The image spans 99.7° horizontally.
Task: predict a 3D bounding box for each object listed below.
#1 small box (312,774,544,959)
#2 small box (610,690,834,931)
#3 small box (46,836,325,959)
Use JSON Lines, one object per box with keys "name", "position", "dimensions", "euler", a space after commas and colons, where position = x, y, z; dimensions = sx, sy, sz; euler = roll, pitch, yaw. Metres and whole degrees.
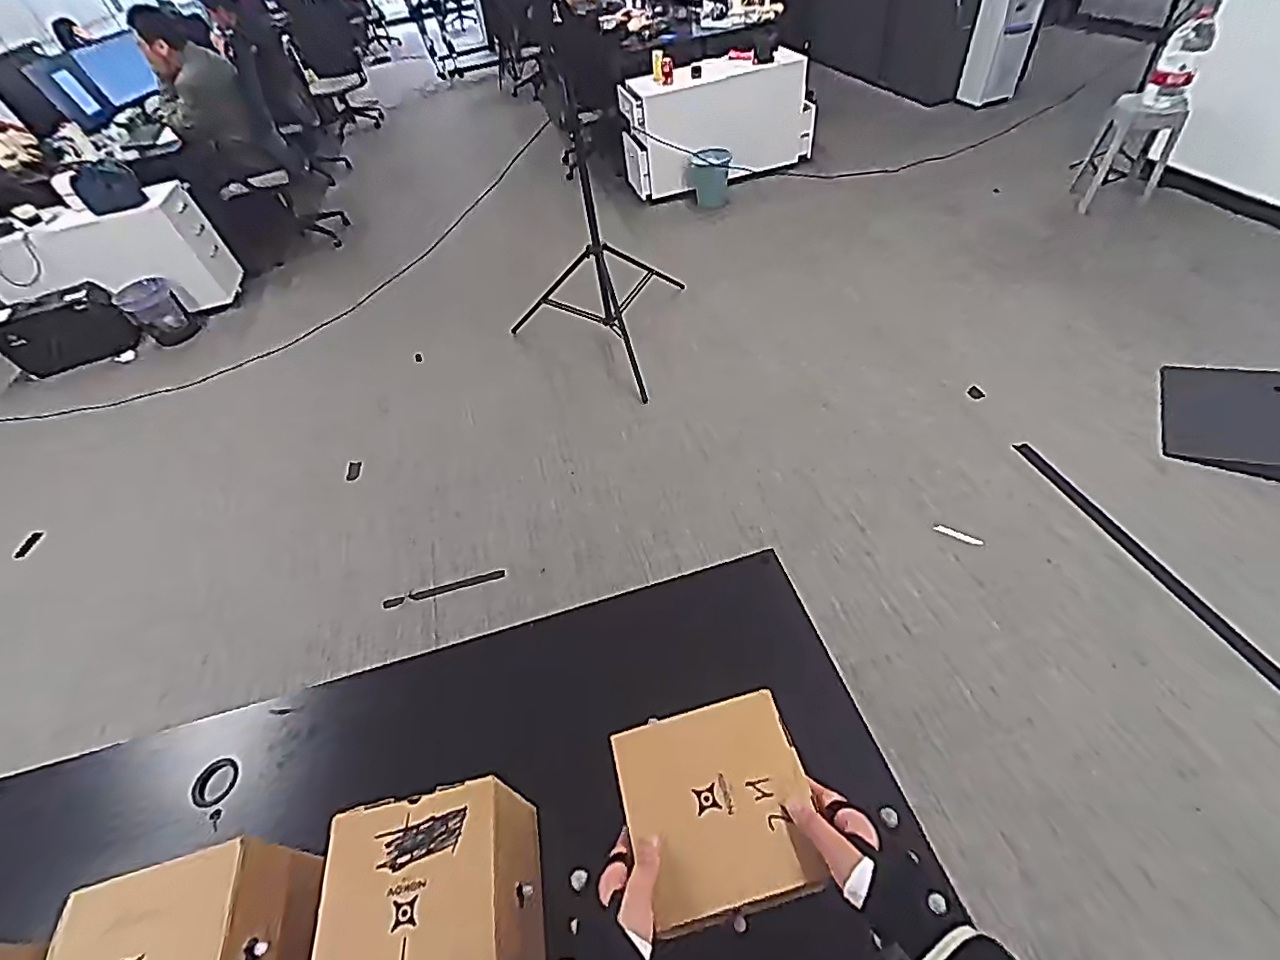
{"name": "small box", "position": [-0.201, 0.431, 0.550], "dimensions": [0.168, 0.176, 0.179], "euler": [-13, 49, -3]}
{"name": "small box", "position": [0.080, 0.354, 0.575], "dimensions": [0.179, 0.176, 0.168], "euler": [-15, 49, -4]}
{"name": "small box", "position": [-0.443, 0.490, 0.538], "dimensions": [0.168, 0.176, 0.179], "euler": [-16, 48, -6]}
